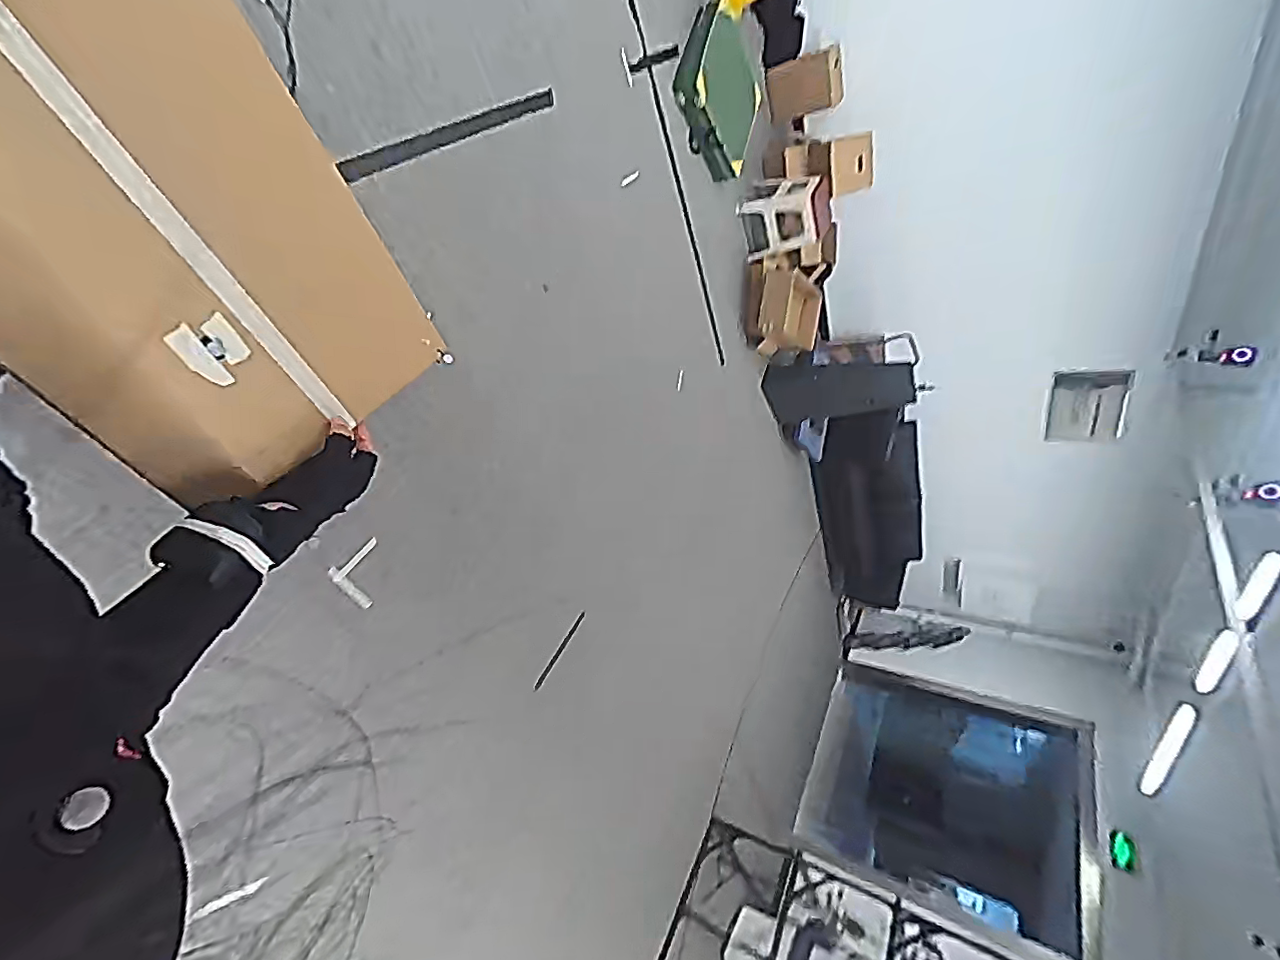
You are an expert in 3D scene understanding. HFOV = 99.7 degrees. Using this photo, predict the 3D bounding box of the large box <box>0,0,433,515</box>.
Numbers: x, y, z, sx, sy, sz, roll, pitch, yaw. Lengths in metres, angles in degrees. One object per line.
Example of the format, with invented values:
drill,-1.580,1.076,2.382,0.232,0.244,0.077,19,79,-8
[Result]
large box,-0.516,-0.233,0.559,0.320,0.320,0.408,-51,139,-28
